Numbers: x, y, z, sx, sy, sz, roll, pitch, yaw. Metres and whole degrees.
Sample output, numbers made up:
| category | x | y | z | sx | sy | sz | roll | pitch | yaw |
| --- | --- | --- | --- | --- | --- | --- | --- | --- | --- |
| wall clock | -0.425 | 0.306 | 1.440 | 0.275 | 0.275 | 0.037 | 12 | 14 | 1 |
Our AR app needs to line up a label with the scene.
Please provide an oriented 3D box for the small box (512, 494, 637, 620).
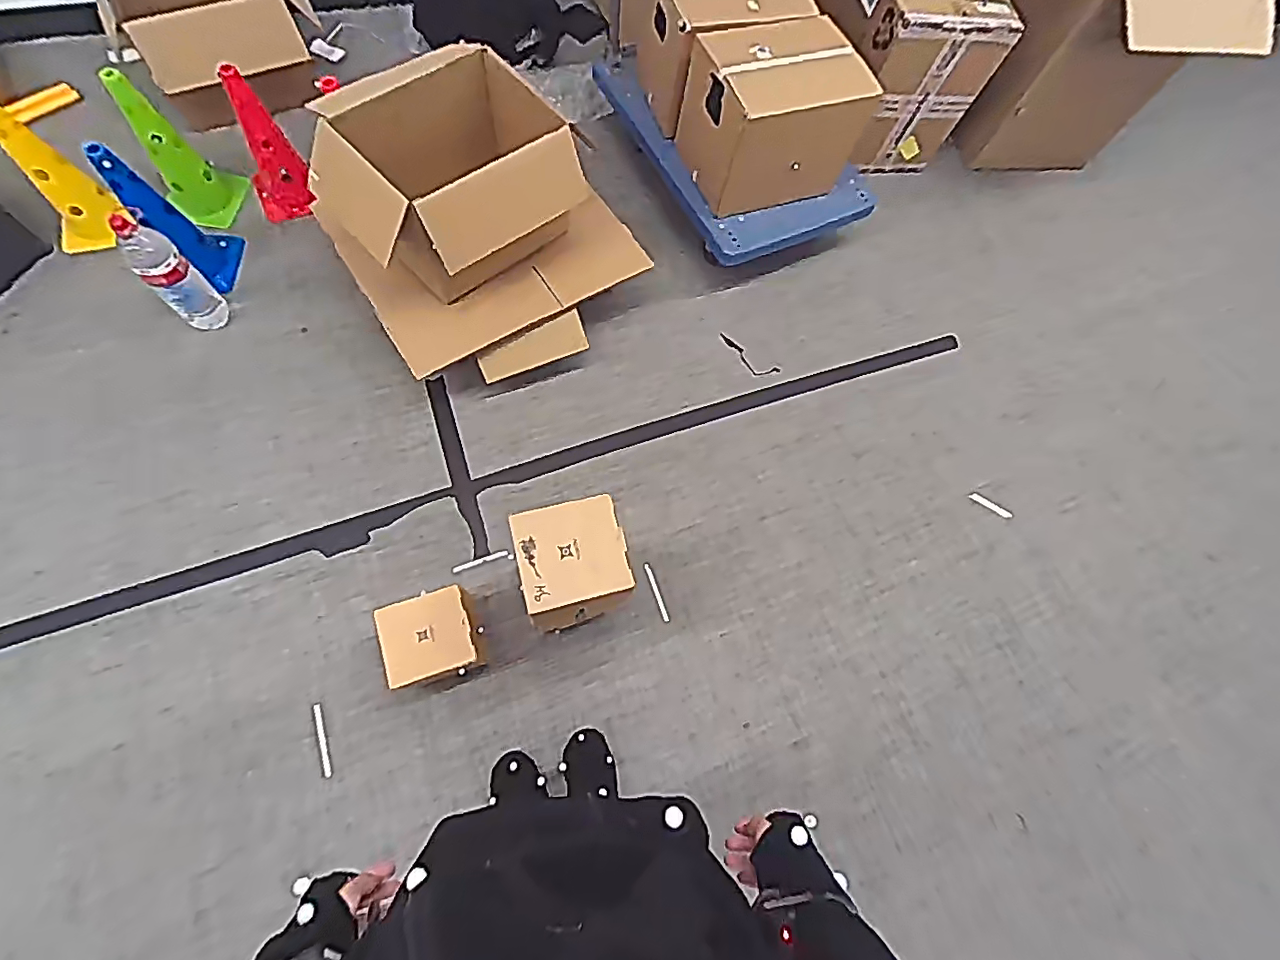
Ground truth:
| category | x | y | z | sx | sy | sz | roll | pitch | yaw |
| --- | --- | --- | --- | --- | --- | --- | --- | --- | --- |
| small box | -0.120 | 0.140 | 0.946 | 0.179 | 0.176 | 0.168 | -12 | 73 | -13 |

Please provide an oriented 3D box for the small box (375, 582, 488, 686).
| category | x | y | z | sx | sy | sz | roll | pitch | yaw |
| --- | --- | --- | --- | --- | --- | --- | --- | --- | --- |
| small box | -0.448 | 0.341 | 1.182 | 0.179 | 0.176 | 0.168 | -17 | 73 | -14 |

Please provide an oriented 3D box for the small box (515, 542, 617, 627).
| category | x | y | z | sx | sy | sz | roll | pitch | yaw |
| --- | --- | --- | --- | --- | --- | --- | --- | --- | --- |
| small box | -0.142 | 0.191 | 1.100 | 0.179 | 0.176 | 0.168 | -15 | 74 | -14 |
